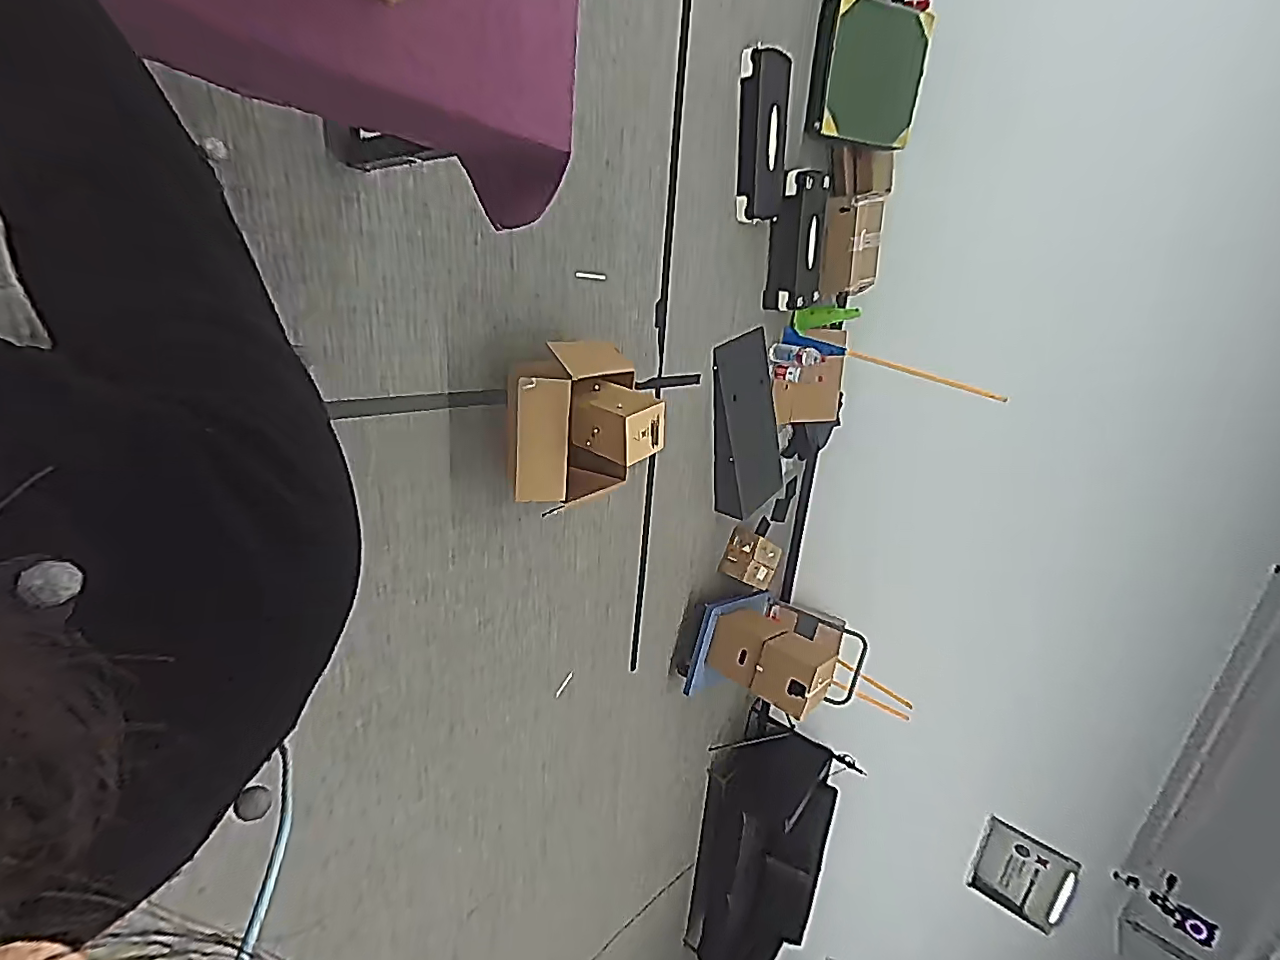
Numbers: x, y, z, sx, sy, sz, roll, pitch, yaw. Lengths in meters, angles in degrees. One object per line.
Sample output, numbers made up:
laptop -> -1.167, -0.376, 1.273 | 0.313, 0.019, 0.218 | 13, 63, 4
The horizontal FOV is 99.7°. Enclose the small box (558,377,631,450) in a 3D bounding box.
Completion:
small box -> -0.154, -0.229, 1.805 | 0.168, 0.176, 0.179 | -38, 137, -33
